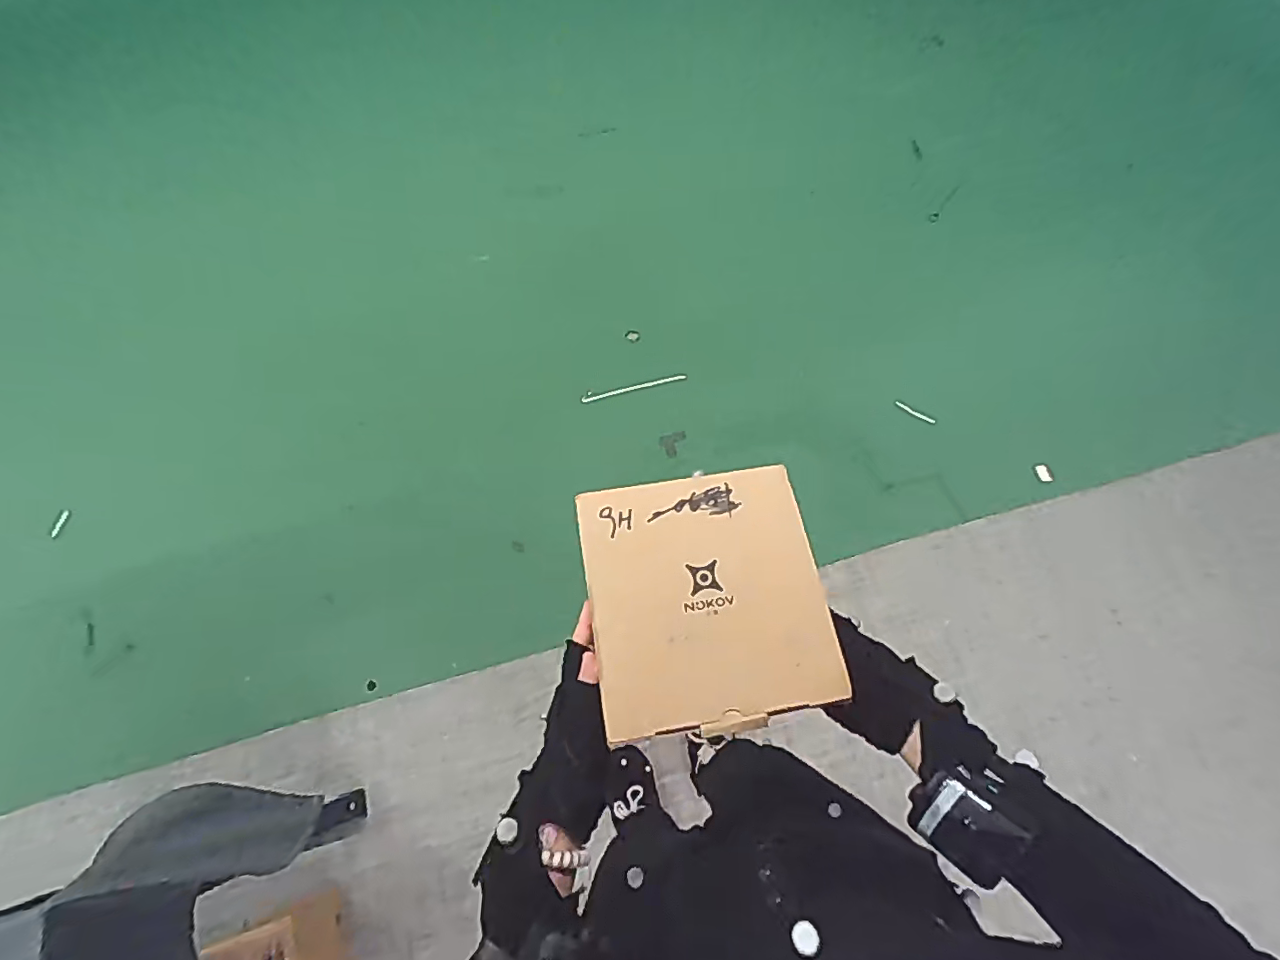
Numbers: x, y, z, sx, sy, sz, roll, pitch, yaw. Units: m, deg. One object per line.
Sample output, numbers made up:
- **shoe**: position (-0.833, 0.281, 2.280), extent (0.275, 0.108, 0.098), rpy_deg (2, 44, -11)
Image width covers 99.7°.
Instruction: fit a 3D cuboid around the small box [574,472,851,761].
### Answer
- **small box**: position (0.043, 0.113, 0.448), extent (0.168, 0.176, 0.179), rpy_deg (-9, 69, -5)
